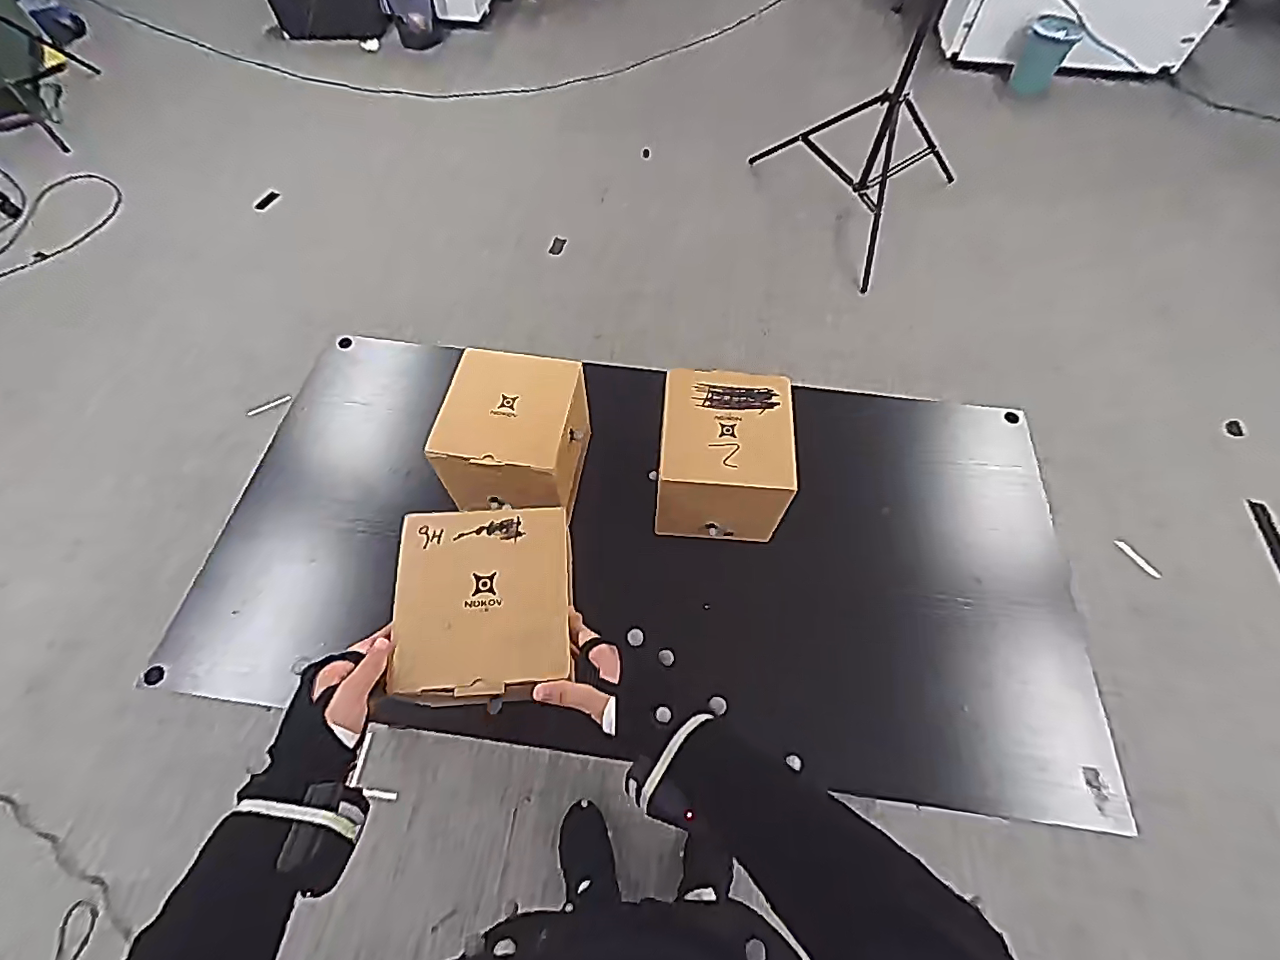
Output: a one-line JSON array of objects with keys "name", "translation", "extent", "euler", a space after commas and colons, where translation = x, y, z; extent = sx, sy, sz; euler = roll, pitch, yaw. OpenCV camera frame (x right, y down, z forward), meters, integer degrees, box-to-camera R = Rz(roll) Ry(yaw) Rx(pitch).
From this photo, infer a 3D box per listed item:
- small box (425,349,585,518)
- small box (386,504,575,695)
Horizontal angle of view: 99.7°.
[{"name": "small box", "translation": [-0.176, -0.057, 0.774], "extent": [0.168, 0.176, 0.179], "euler": [8, 61, 4]}, {"name": "small box", "translation": [-0.158, 0.139, 0.593], "extent": [0.168, 0.176, 0.179], "euler": [-2, 66, -6]}]
